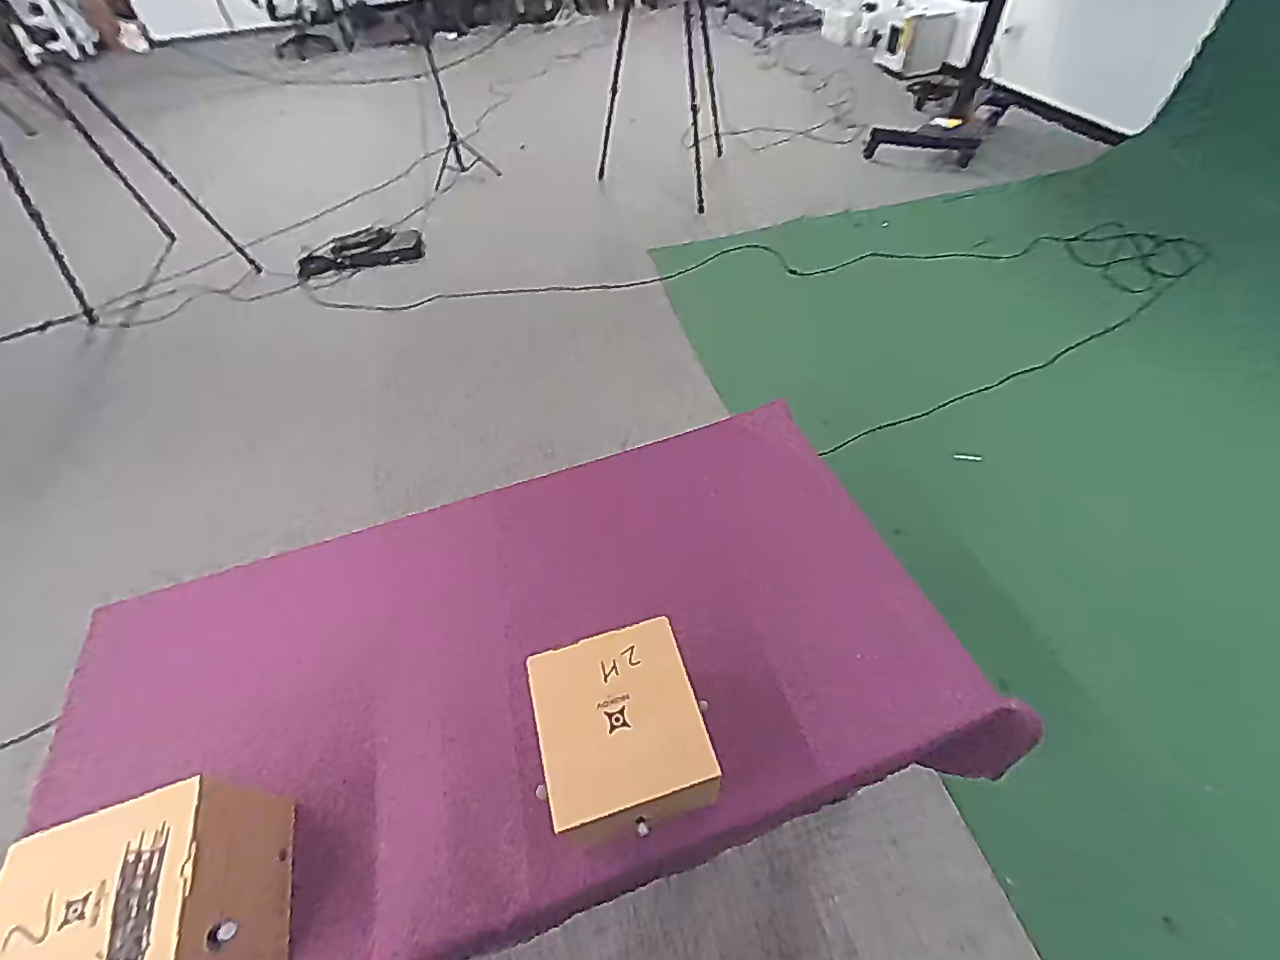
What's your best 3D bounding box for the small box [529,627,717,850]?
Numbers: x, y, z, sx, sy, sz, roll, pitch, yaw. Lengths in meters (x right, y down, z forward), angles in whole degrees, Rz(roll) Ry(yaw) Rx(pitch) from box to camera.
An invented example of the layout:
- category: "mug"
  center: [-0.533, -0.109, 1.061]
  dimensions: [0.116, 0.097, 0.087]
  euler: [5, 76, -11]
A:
- category: "small box"
  center: [-0.019, 0.301, 0.620]
  dimensions: [0.168, 0.176, 0.179]
  euler: [-14, 51, -8]
